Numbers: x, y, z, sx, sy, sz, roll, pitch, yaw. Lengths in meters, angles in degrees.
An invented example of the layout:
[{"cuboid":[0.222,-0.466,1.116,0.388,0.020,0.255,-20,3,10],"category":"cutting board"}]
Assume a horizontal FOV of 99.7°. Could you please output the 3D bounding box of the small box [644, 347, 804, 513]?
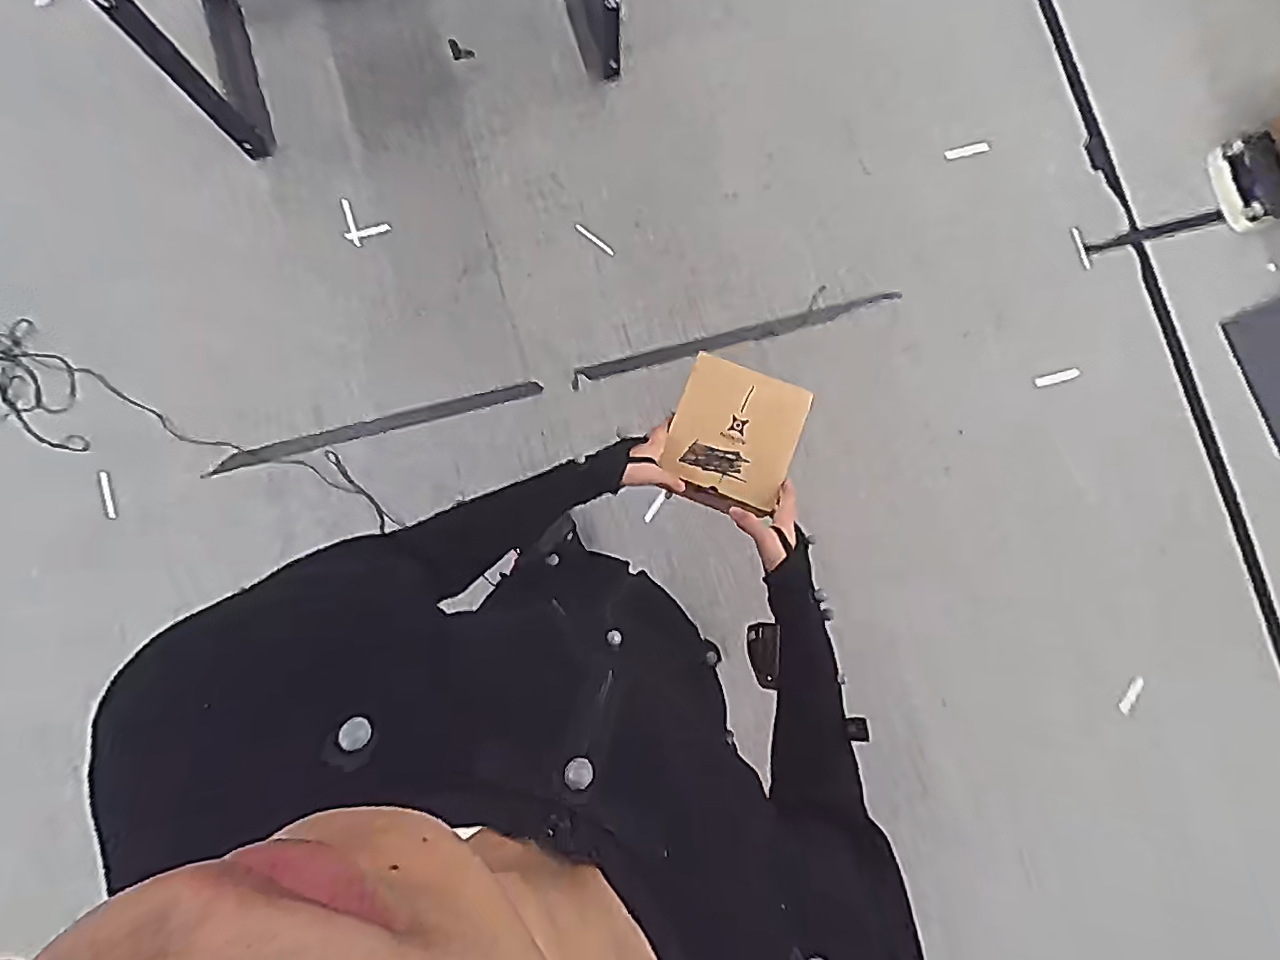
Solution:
[{"cuboid":[0.113,-0.060,0.786,0.168,0.176,0.179,21,83,2],"category":"small box"}]
